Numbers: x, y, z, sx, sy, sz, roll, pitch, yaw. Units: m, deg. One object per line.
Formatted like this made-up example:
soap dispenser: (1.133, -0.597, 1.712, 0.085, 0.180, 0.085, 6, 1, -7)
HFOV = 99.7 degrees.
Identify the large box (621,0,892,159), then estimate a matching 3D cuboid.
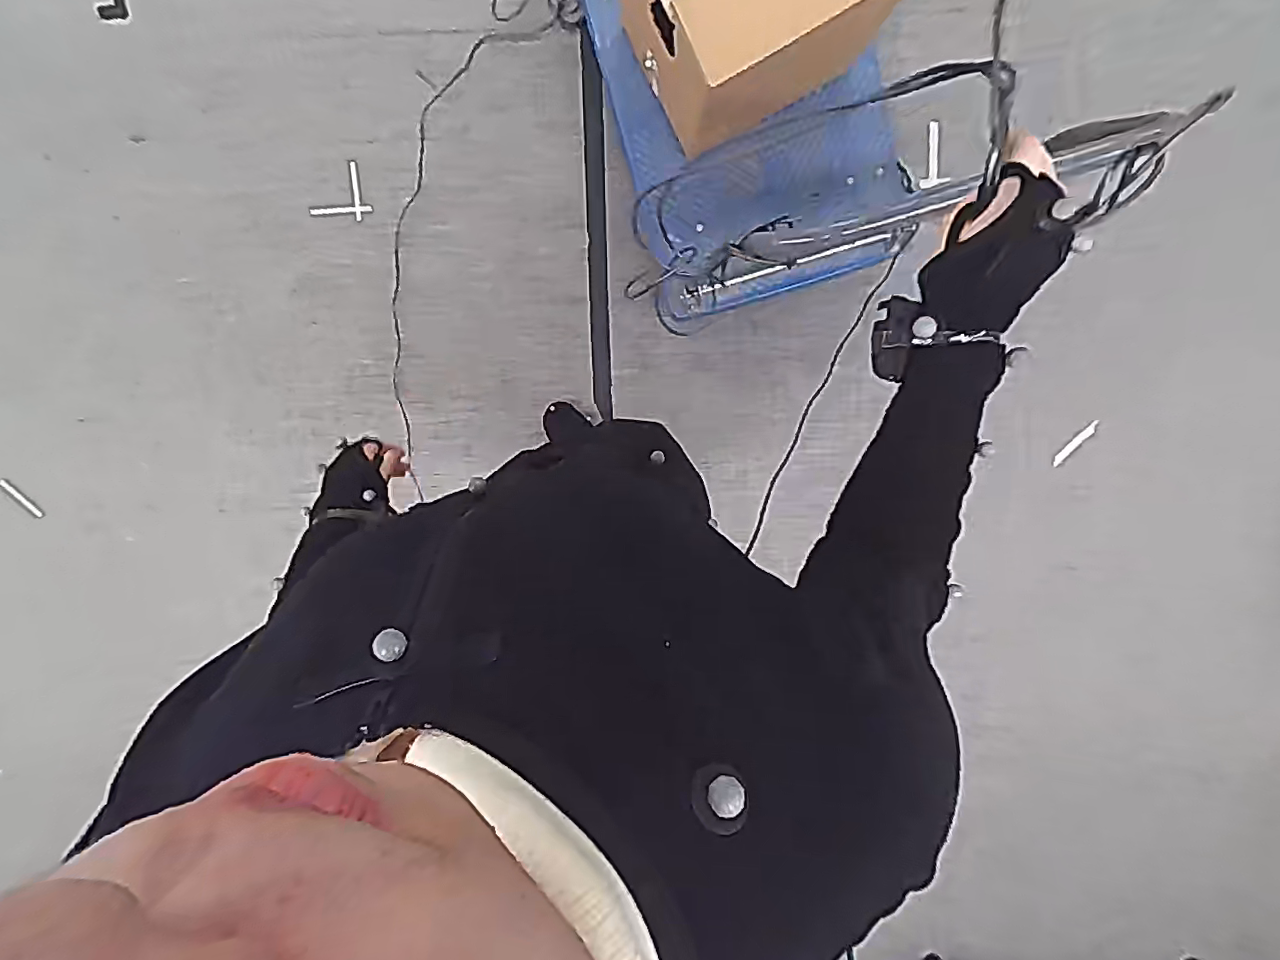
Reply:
large box: (0.209, -0.903, 1.012, 0.408, 0.320, 0.320, -28, 100, 3)
